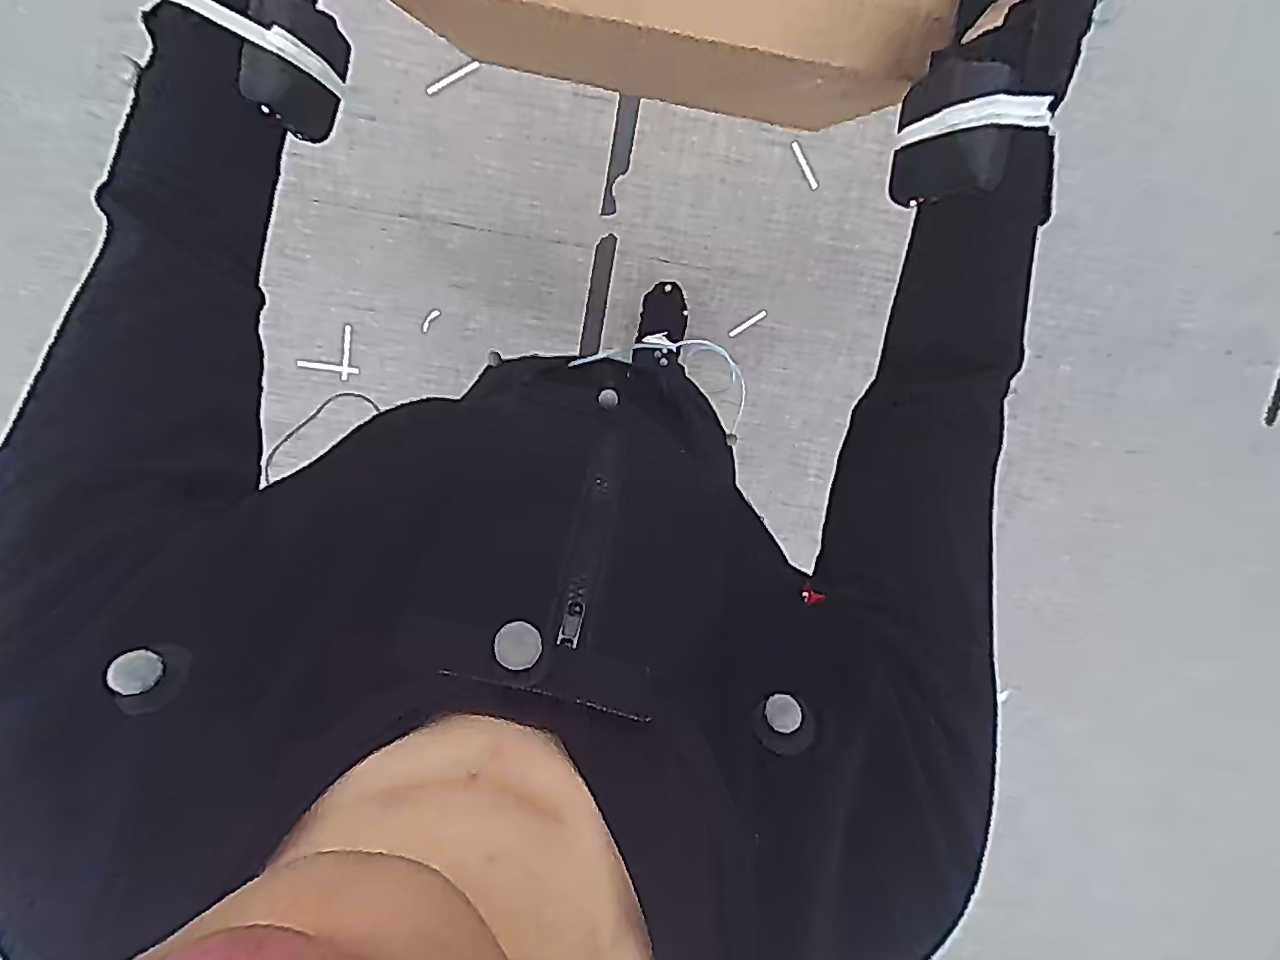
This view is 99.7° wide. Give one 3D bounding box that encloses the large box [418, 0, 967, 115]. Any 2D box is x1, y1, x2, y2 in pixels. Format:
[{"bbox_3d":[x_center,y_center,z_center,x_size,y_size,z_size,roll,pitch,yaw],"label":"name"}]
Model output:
[{"bbox_3d":[0.034,-0.512,0.416,0.408,0.320,0.320,8,119,-4],"label":"large box"}]
